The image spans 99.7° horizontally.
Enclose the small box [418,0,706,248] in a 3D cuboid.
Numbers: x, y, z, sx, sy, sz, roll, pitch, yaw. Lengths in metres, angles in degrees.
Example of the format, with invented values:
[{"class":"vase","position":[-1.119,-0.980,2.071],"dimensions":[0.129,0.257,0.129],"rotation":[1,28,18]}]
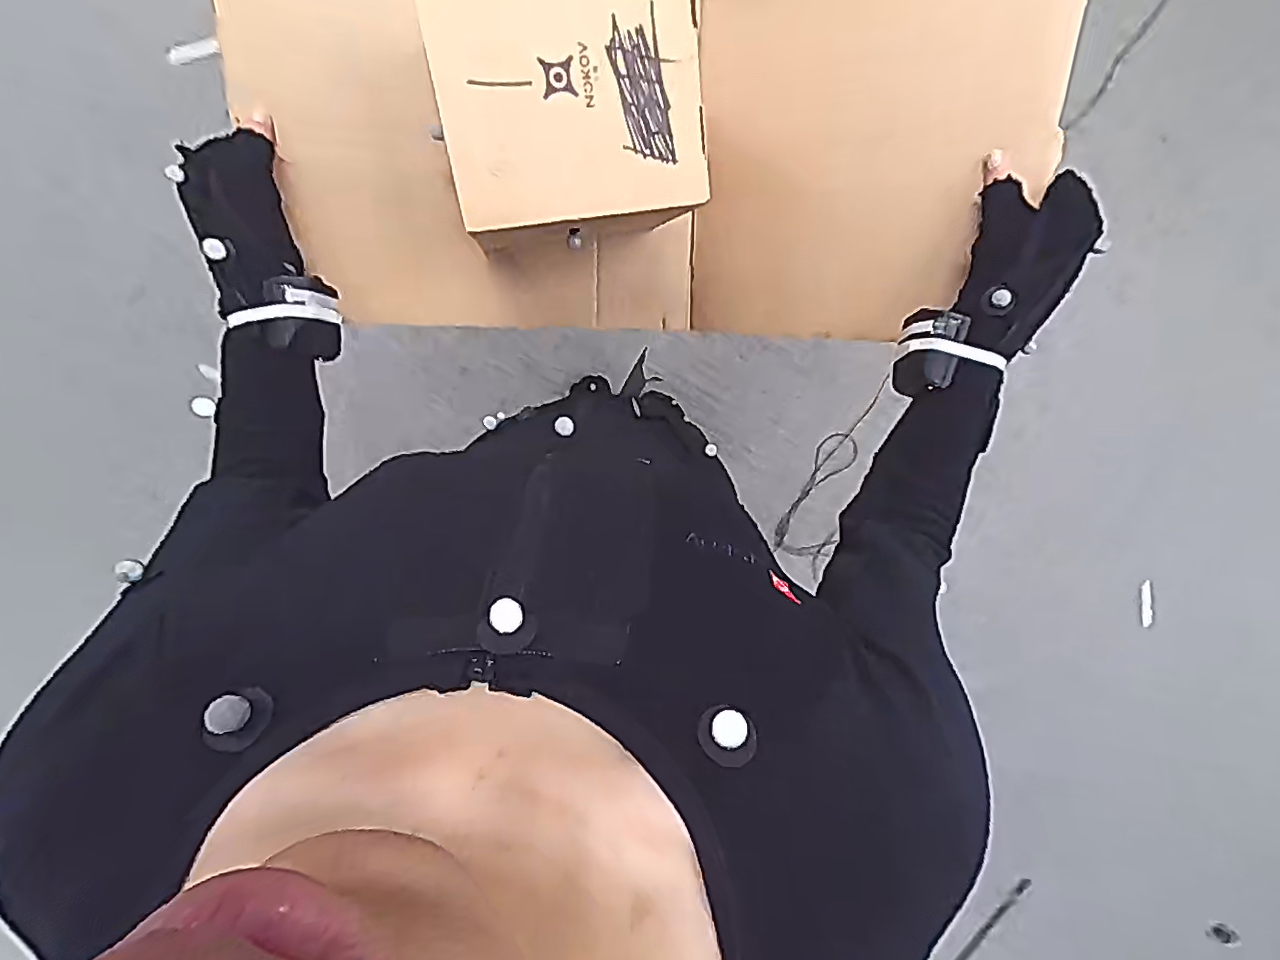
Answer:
[{"class":"small box","position":[-0.061,-0.289,0.433],"dimensions":[0.179,0.176,0.168],"rotation":[-12,111,-8]}]
